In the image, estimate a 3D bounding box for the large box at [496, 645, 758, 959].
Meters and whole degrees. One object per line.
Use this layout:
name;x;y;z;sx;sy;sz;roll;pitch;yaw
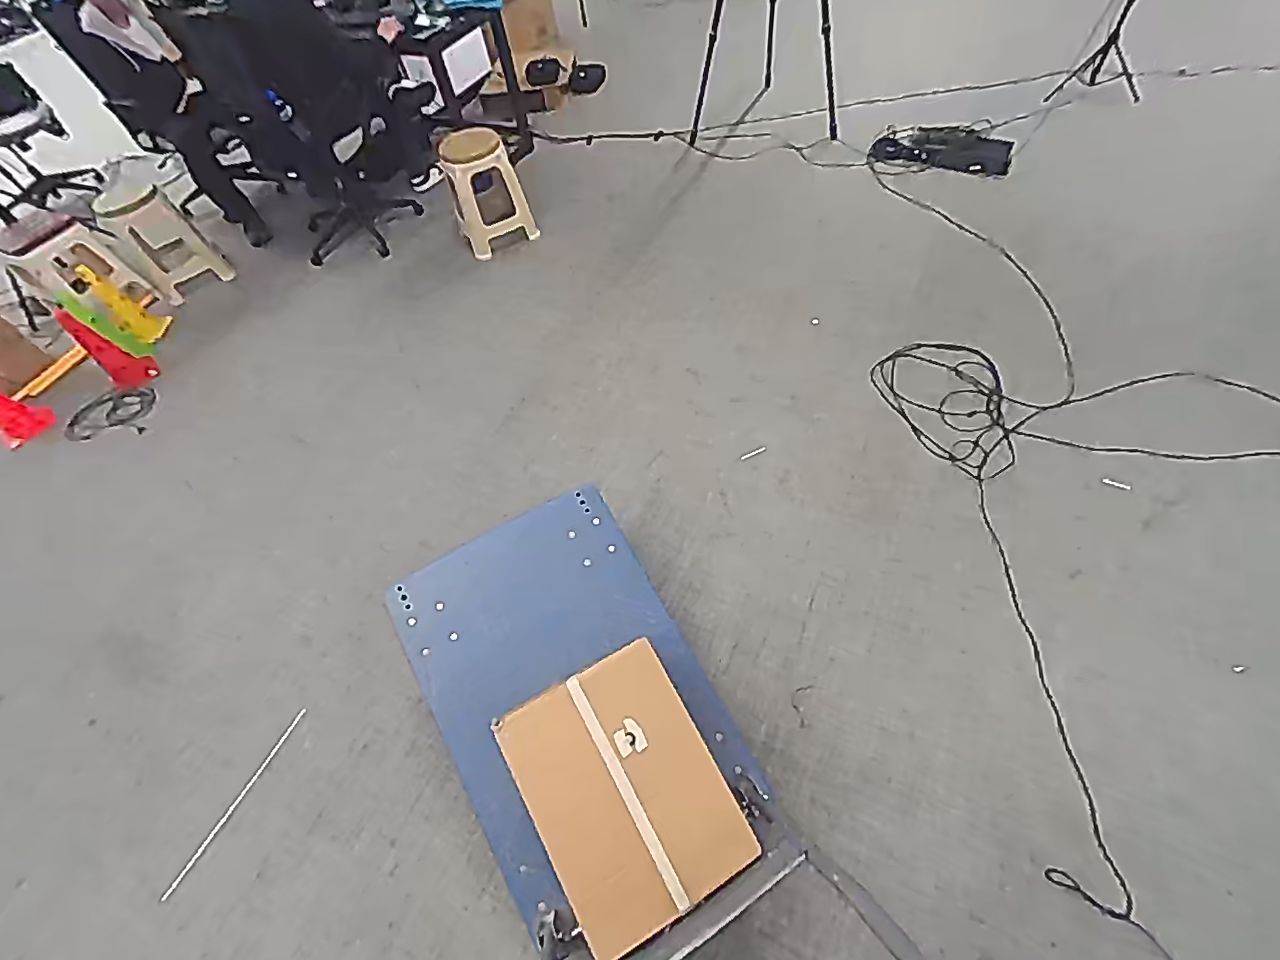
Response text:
large box;-0.031;0.589;1.081;0.320;0.320;0.408;-28;74;-12
